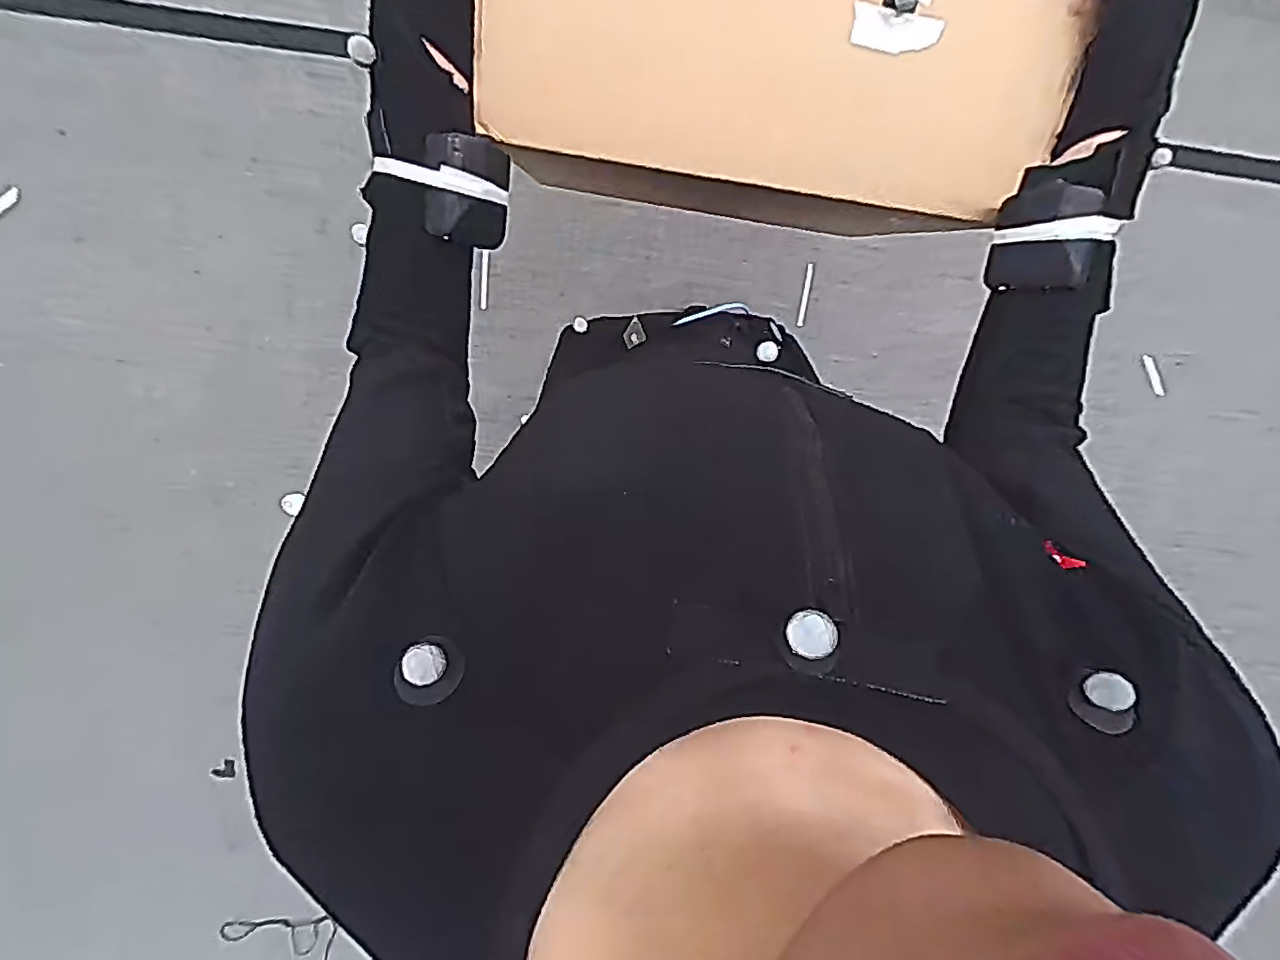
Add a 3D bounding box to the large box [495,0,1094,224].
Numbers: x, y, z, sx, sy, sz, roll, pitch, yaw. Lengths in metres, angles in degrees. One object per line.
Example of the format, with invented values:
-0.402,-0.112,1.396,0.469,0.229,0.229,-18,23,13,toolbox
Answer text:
0.104,-0.423,0.474,0.408,0.320,0.320,6,114,-6,large box
